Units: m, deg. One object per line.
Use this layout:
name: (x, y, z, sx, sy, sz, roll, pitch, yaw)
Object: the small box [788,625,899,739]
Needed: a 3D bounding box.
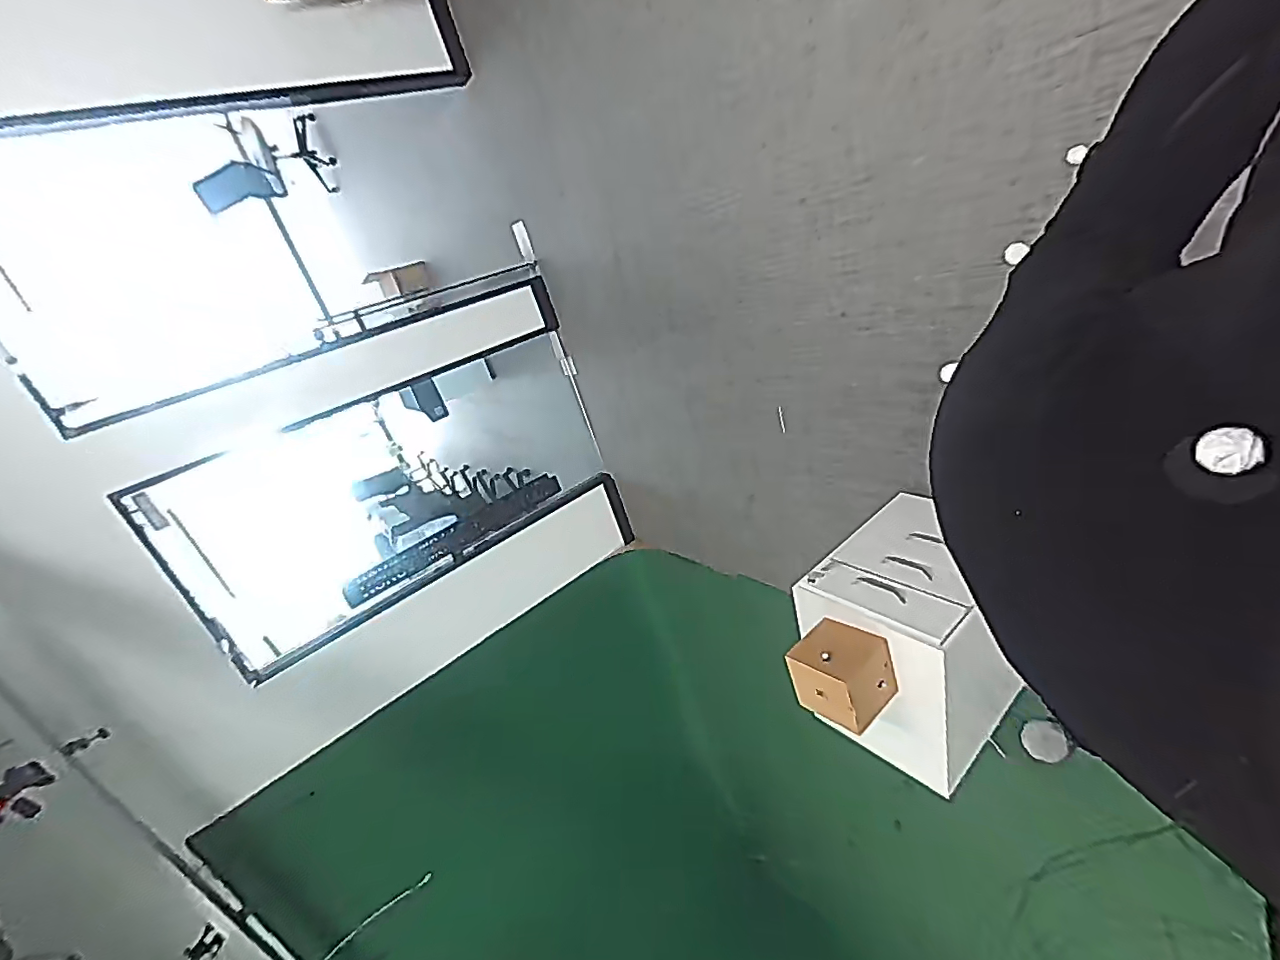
small box: (0.495, 0.480, 1.317, 0.179, 0.176, 0.168, 9, 124, 55)
